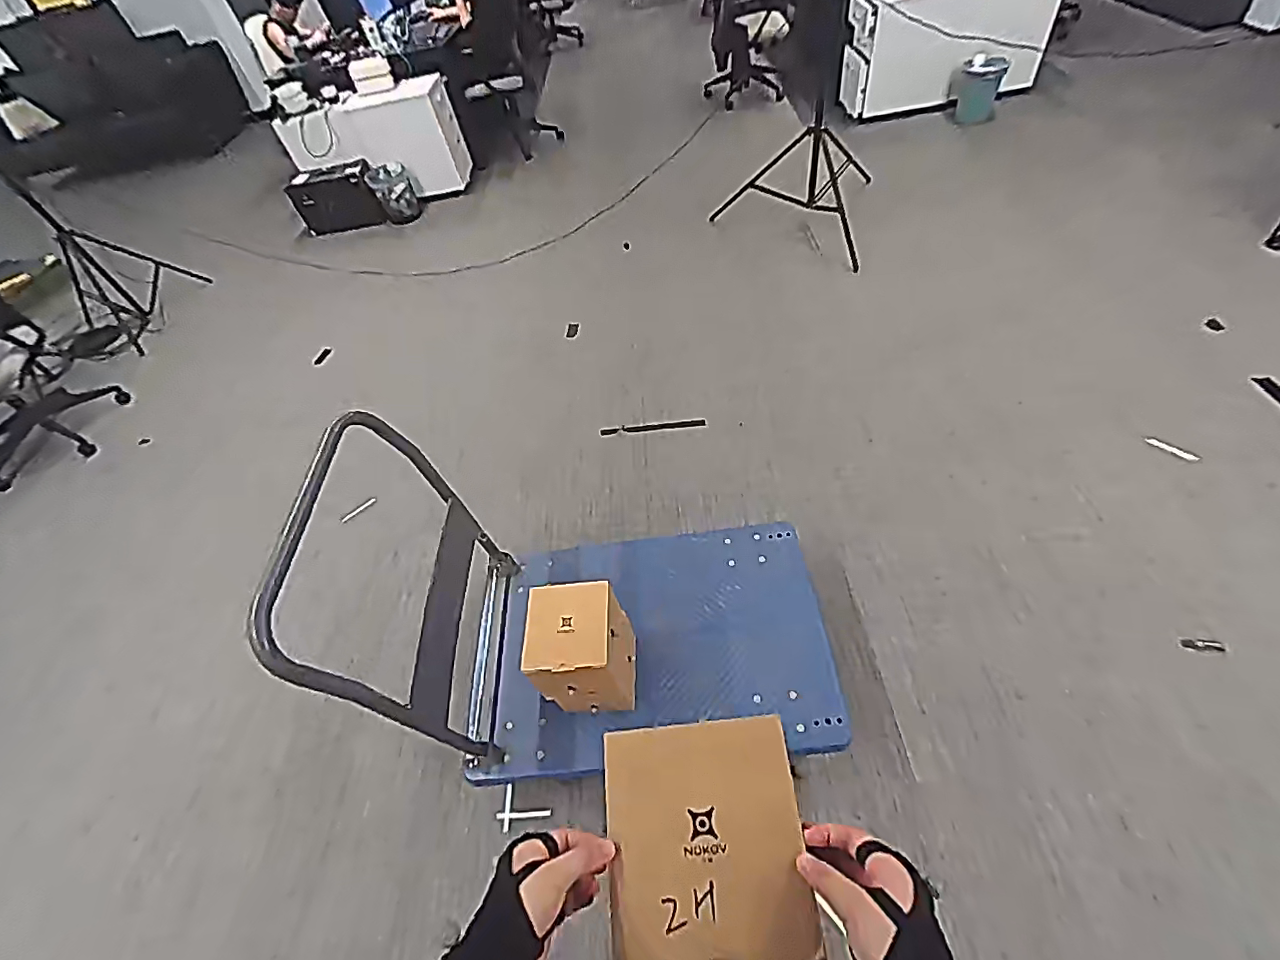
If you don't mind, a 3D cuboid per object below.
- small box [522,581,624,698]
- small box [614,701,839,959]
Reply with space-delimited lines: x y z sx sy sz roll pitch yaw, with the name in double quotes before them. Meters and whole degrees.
"small box" -0.128 0.326 1.099 0.168 0.176 0.179 -6 52 6
"small box" 0.076 0.326 0.518 0.168 0.176 0.179 -11 58 7
